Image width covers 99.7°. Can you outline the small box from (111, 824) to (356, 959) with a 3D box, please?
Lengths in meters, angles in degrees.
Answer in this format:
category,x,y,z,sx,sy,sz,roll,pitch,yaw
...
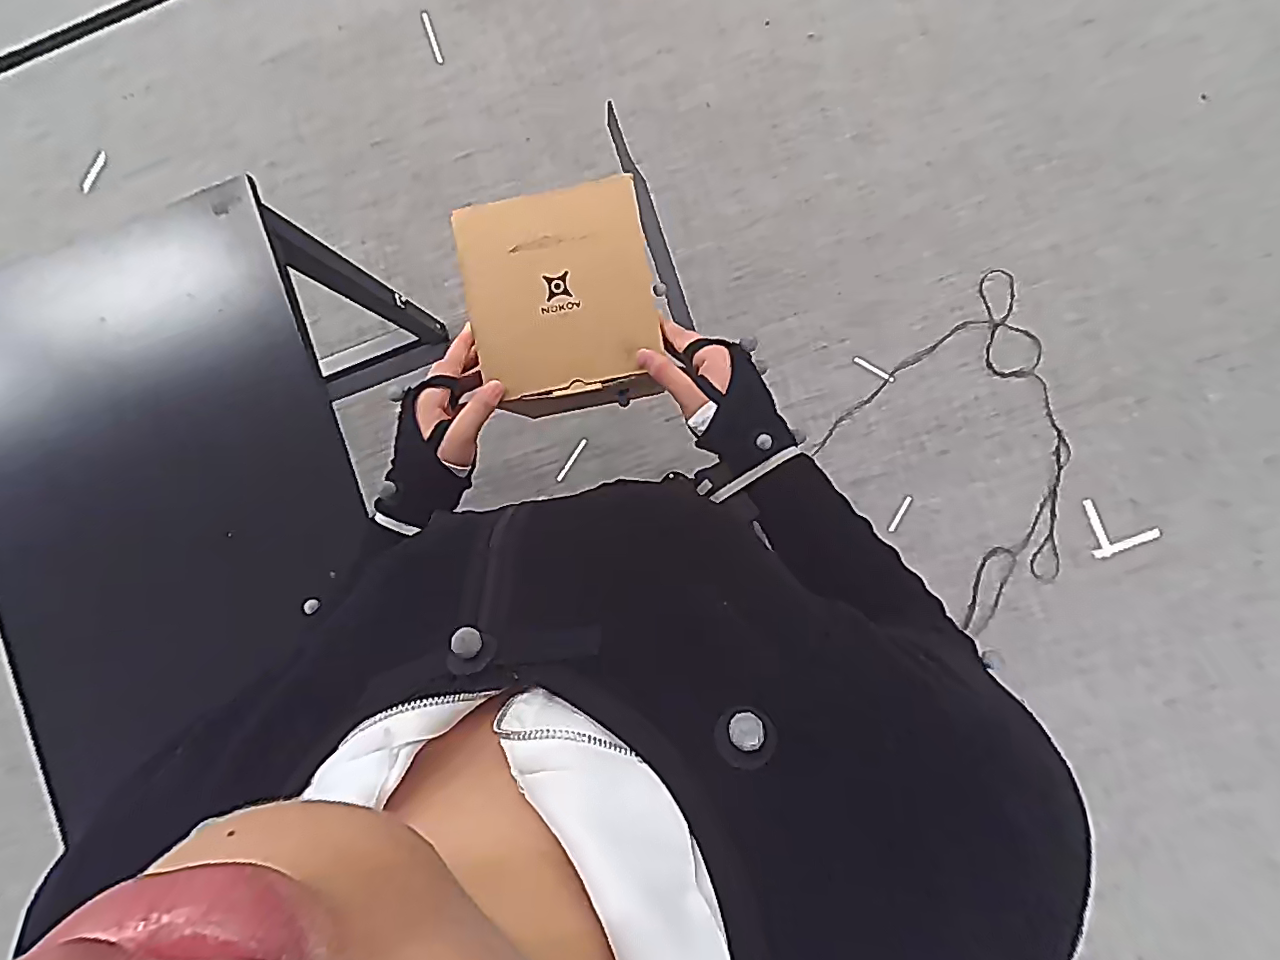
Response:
category,x,y,z,sx,sy,sz,roll,pitch,yaw
small box,-0.517,0.595,0.713,0.168,0.176,0.179,-21,88,3

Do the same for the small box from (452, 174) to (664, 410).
category,x,y,z,sx,sy,sz,roll,pitch,yaw
small box,-0.069,-0.171,0.556,0.168,0.176,0.179,-11,92,1
